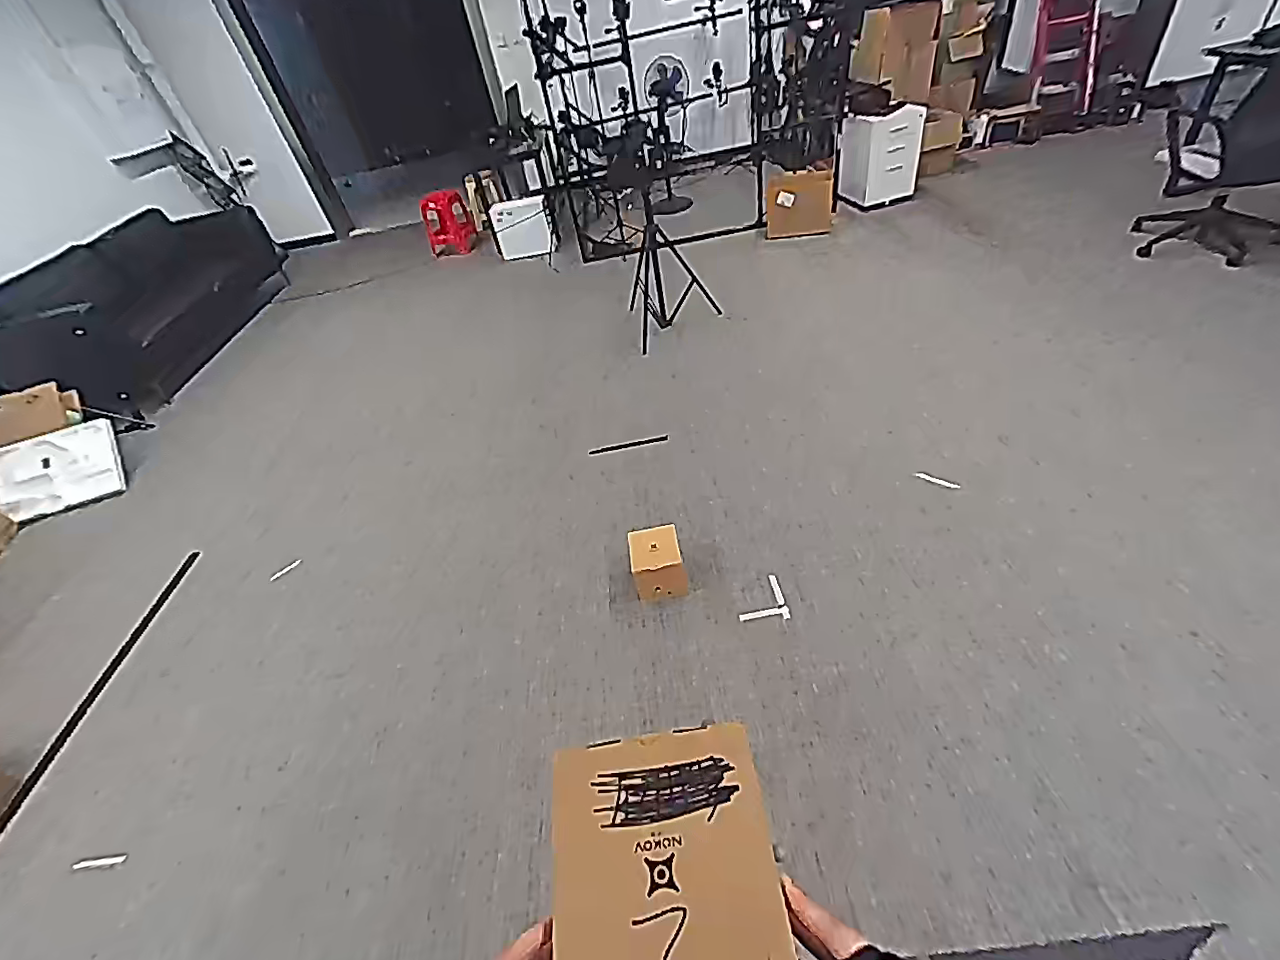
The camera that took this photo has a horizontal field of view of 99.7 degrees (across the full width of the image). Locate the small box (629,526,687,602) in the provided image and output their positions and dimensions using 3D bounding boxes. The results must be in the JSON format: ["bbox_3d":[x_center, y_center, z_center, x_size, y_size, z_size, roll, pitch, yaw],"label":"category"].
[{"bbox_3d":[0.060,0.285,1.837,0.168,0.176,0.179,-11,42,1],"label":"small box"}]
